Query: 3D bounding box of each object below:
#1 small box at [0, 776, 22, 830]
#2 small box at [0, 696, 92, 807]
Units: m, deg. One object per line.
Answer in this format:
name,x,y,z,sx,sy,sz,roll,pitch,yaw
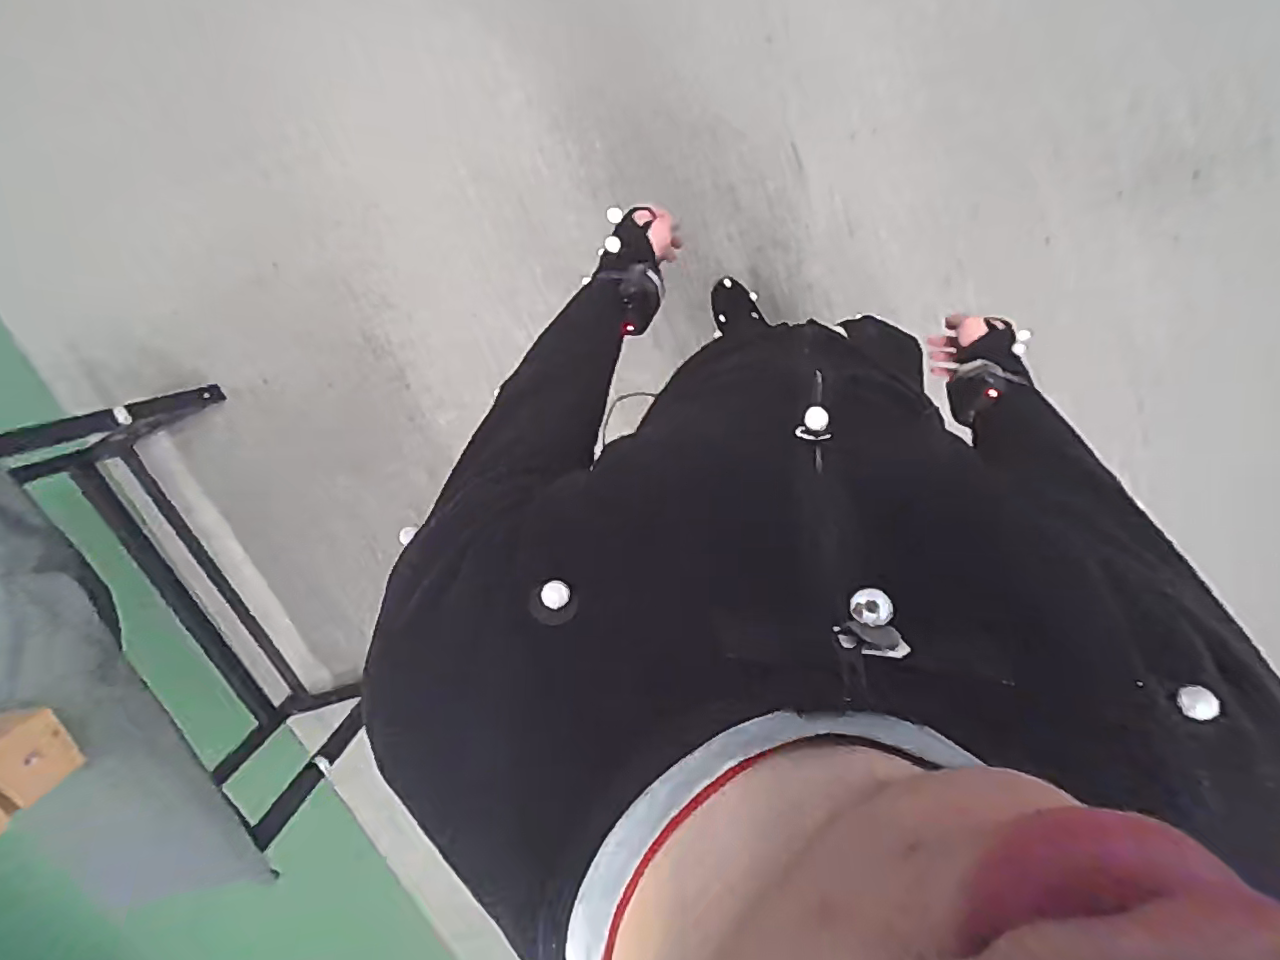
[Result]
small box,-1.422,0.679,1.081,0.179,0.176,0.168,-14,107,14
small box,-1.423,0.617,1.234,0.179,0.176,0.168,-9,109,11
